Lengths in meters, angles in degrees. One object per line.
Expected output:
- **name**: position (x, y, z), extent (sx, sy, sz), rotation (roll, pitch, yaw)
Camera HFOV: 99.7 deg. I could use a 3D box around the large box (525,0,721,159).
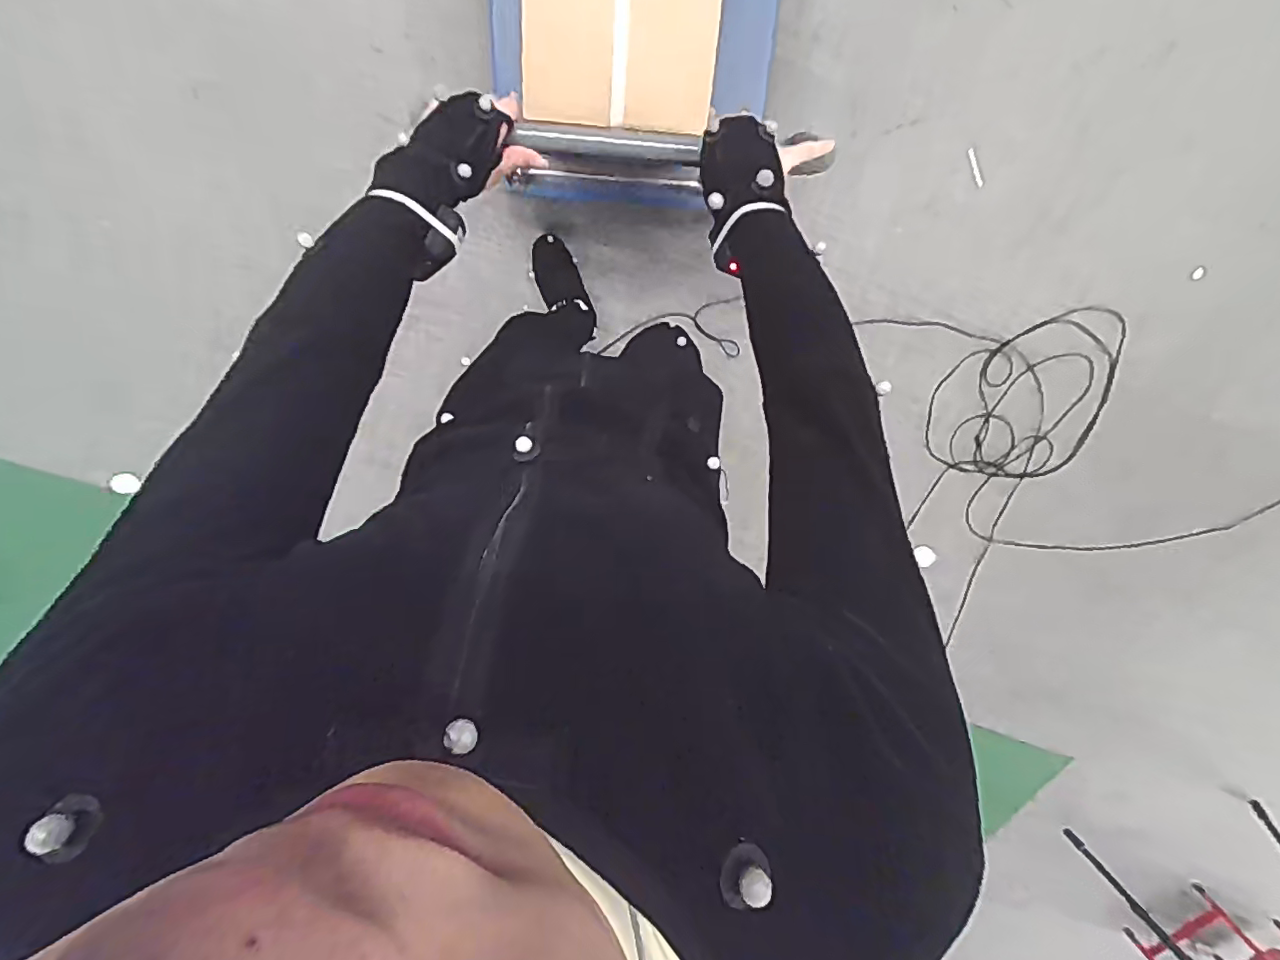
- **large box**: position (-0.025, -0.843, 0.982), extent (0.320, 0.320, 0.408), rotation (4, 113, -3)
